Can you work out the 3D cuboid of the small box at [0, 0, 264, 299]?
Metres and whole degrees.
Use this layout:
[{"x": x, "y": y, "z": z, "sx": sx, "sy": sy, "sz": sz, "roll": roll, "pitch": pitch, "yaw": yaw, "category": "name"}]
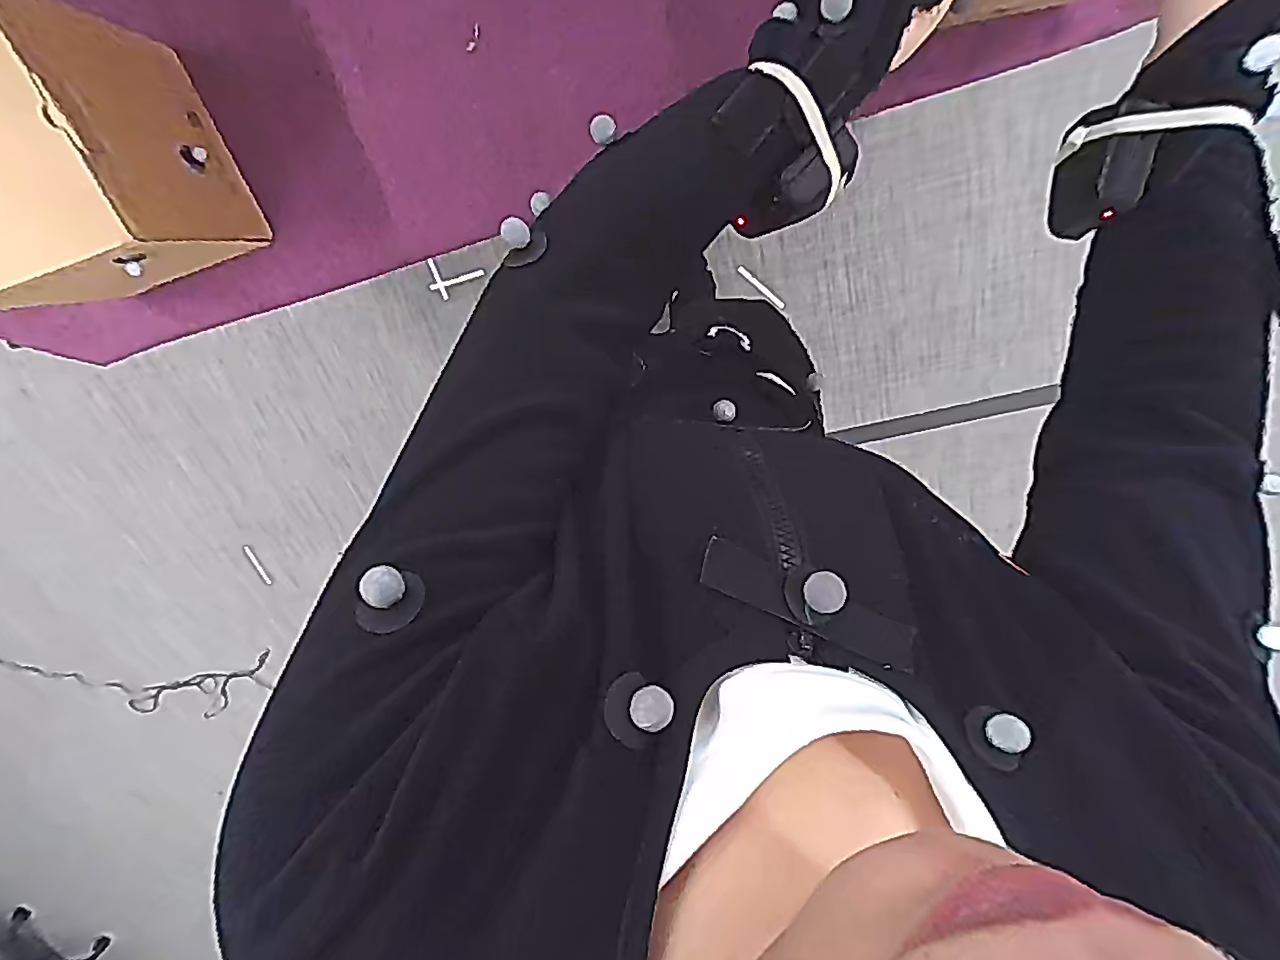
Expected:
[{"x": -0.476, "y": -0.258, "z": 0.451, "sx": 0.179, "sy": 0.176, "sz": 0.168, "roll": -17, "pitch": 113, "yaw": 6, "category": "small box"}]
